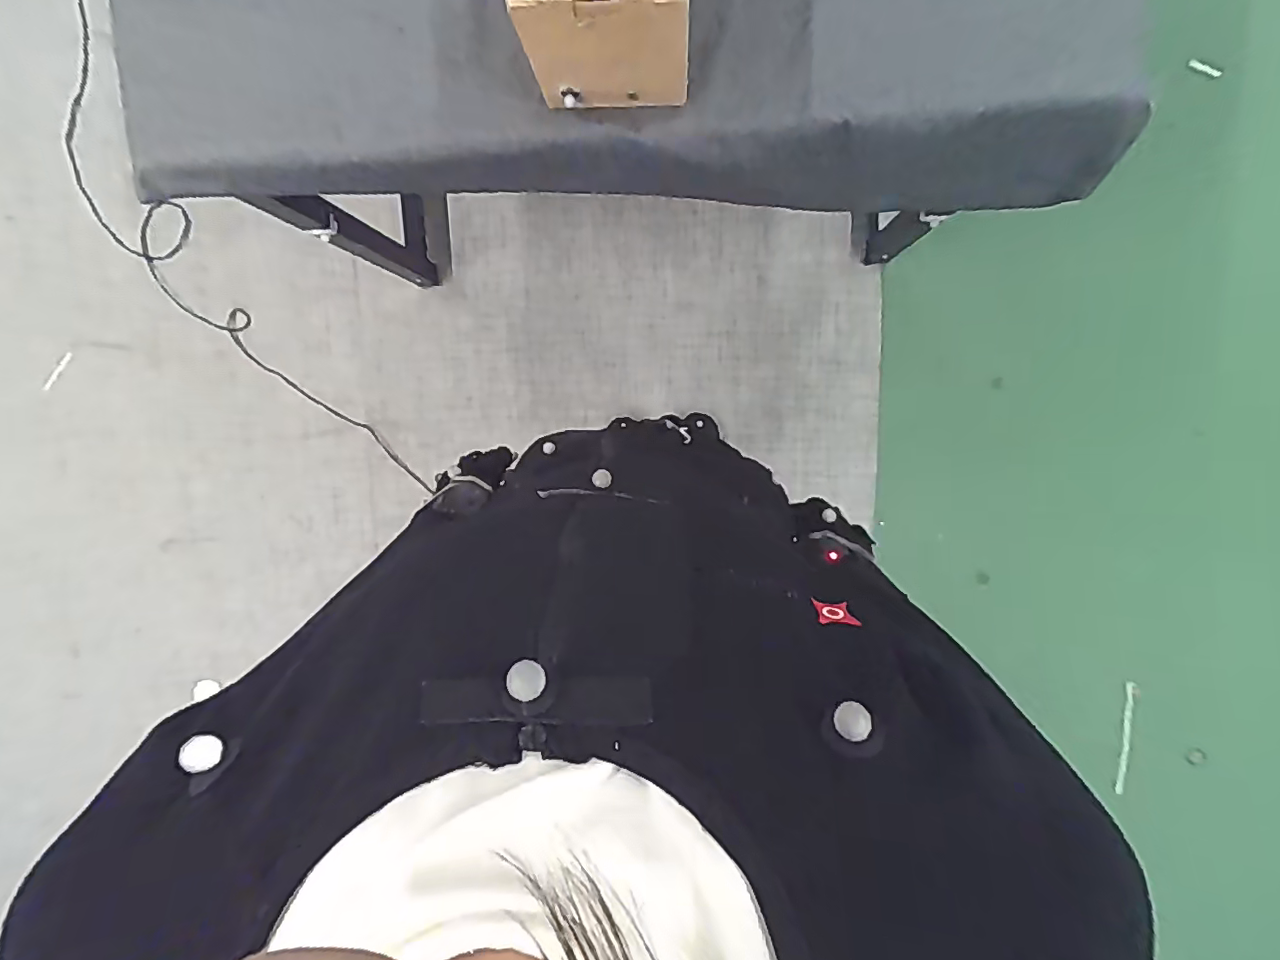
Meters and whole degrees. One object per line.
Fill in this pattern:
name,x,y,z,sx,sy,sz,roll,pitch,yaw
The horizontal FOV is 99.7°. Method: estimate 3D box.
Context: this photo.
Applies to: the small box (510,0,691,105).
small box,-0.030,-0.523,0.559,0.168,0.176,0.179,2,96,3
